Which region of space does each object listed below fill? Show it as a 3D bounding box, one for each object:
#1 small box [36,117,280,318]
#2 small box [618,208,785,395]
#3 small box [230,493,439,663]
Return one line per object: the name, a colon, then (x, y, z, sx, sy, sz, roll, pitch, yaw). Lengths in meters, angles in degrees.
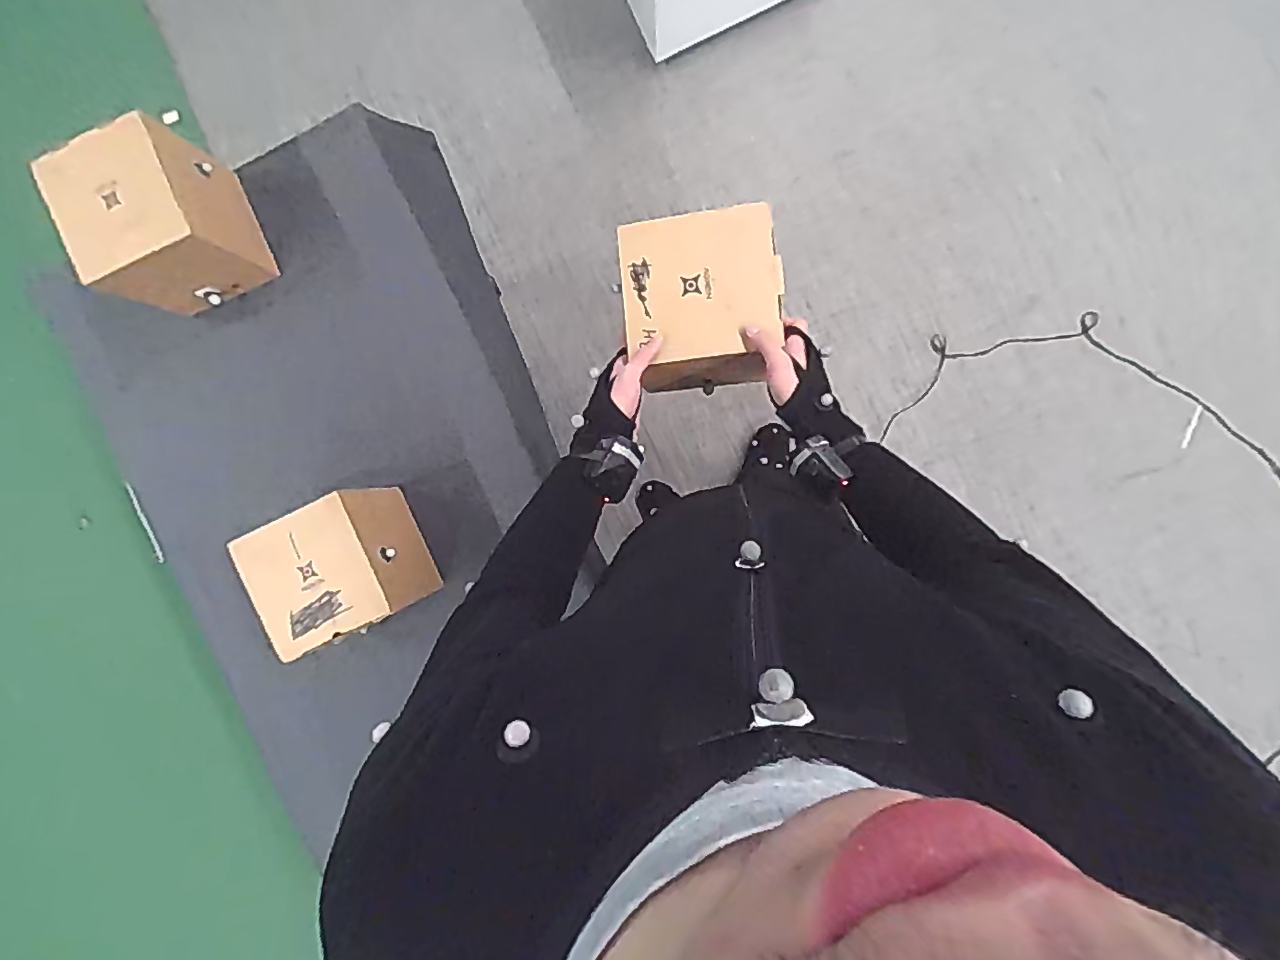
small box: (-0.675, -0.362, 0.780, 0.168, 0.176, 0.179, -24, 91, 4)
small box: (0.075, -0.208, 0.676, 0.179, 0.176, 0.168, -5, 86, 7)
small box: (-0.422, 0.128, 0.779, 0.168, 0.176, 0.179, -25, 89, 3)
